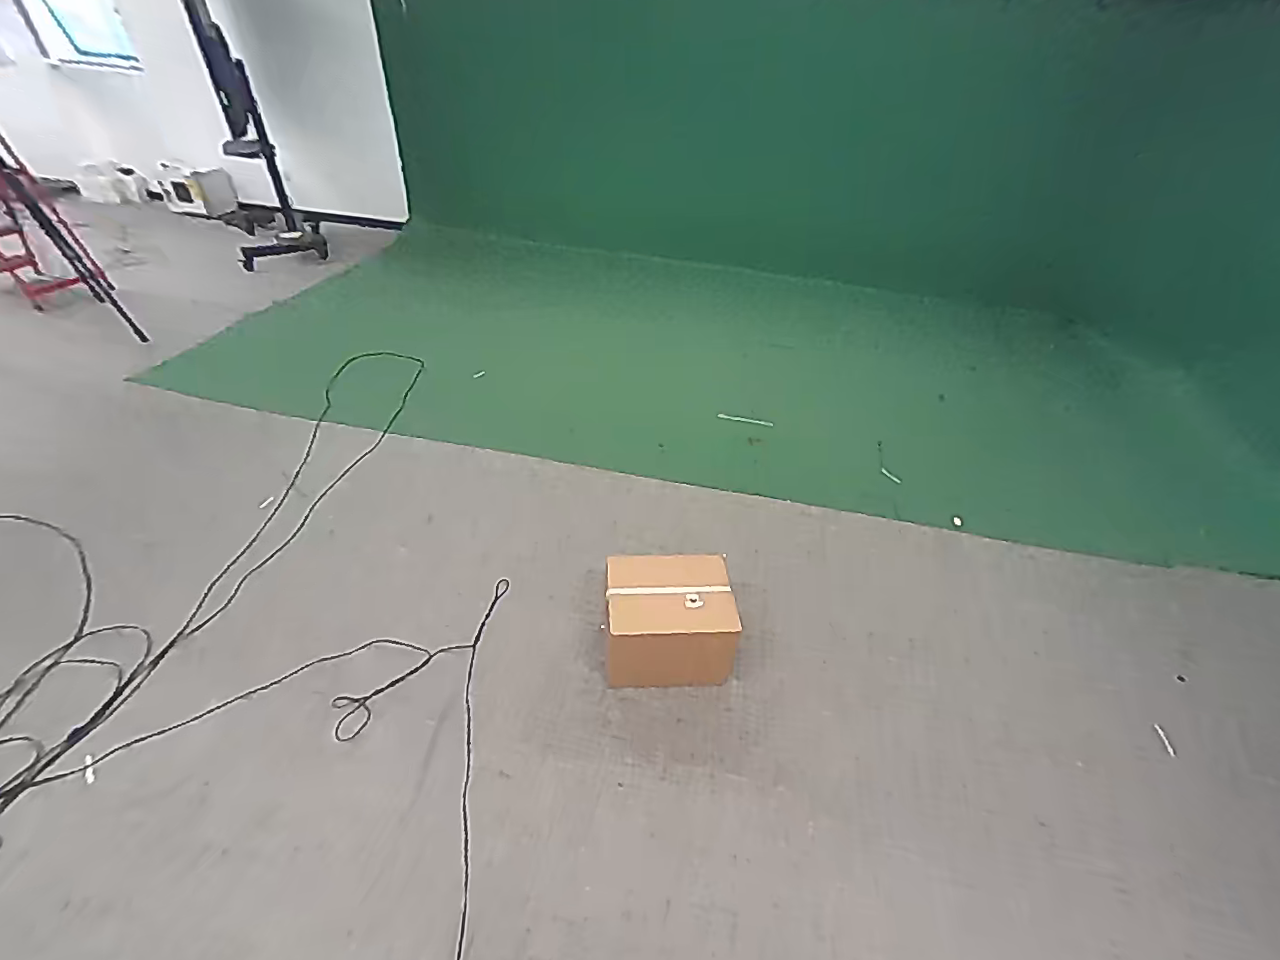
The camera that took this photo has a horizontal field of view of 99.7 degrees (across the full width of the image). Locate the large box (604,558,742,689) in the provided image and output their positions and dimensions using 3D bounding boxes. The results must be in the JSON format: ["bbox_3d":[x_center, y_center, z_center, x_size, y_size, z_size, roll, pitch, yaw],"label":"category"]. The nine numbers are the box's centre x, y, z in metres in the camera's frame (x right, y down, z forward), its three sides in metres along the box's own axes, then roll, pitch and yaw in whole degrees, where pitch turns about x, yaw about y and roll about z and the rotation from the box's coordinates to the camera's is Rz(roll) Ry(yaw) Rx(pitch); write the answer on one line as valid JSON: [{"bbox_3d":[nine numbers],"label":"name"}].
[{"bbox_3d":[0.089,0.481,1.829,0.408,0.320,0.320,0,39,-6],"label":"large box"}]
